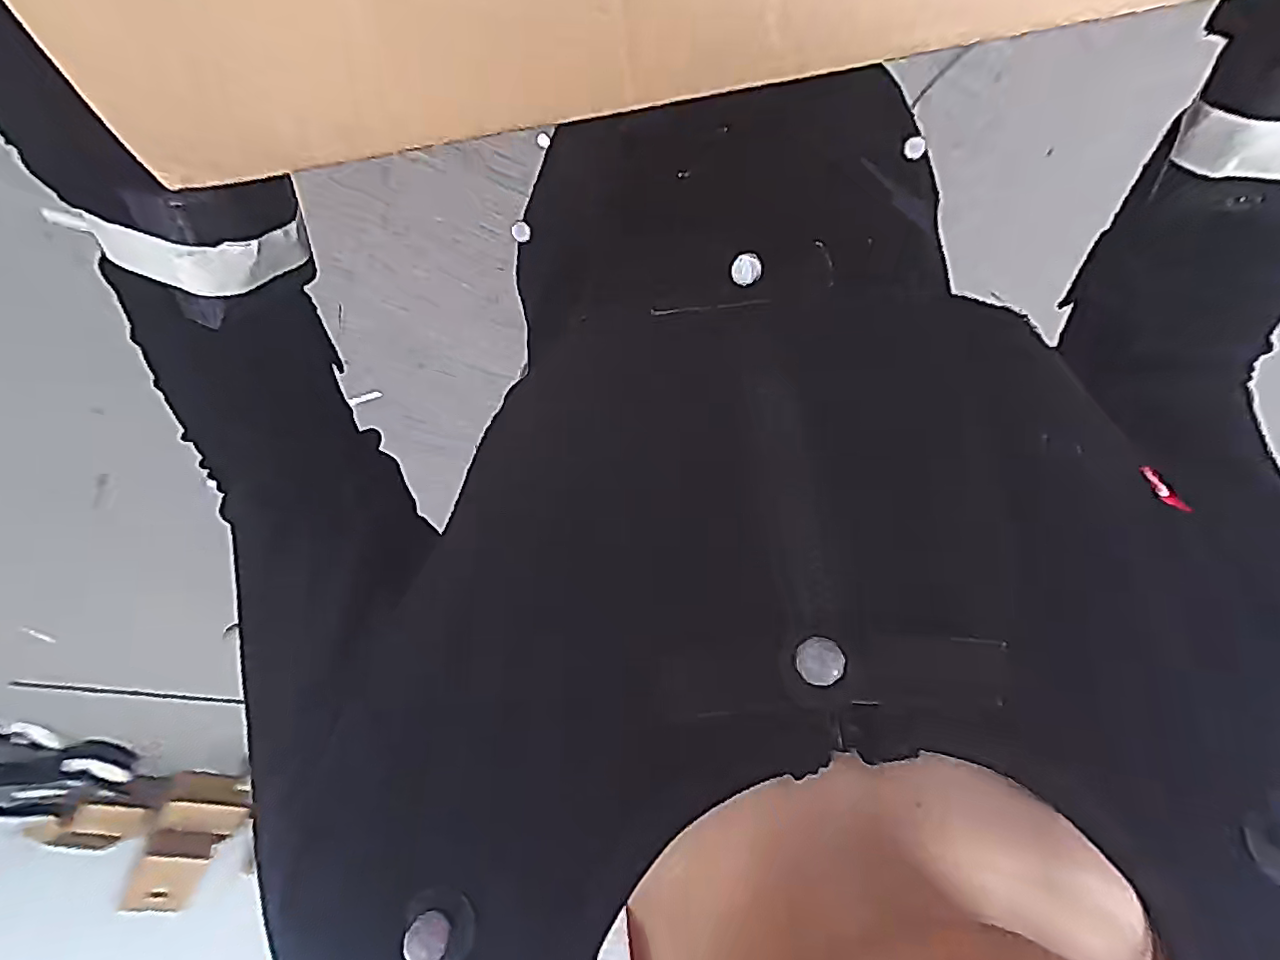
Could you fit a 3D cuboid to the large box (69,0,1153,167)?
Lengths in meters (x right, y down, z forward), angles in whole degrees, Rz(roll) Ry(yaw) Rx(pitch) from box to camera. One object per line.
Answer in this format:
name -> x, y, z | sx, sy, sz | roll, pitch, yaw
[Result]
large box -> 0.006, -0.348, 0.148 | 0.408, 0.320, 0.320 | -7, 144, 3
